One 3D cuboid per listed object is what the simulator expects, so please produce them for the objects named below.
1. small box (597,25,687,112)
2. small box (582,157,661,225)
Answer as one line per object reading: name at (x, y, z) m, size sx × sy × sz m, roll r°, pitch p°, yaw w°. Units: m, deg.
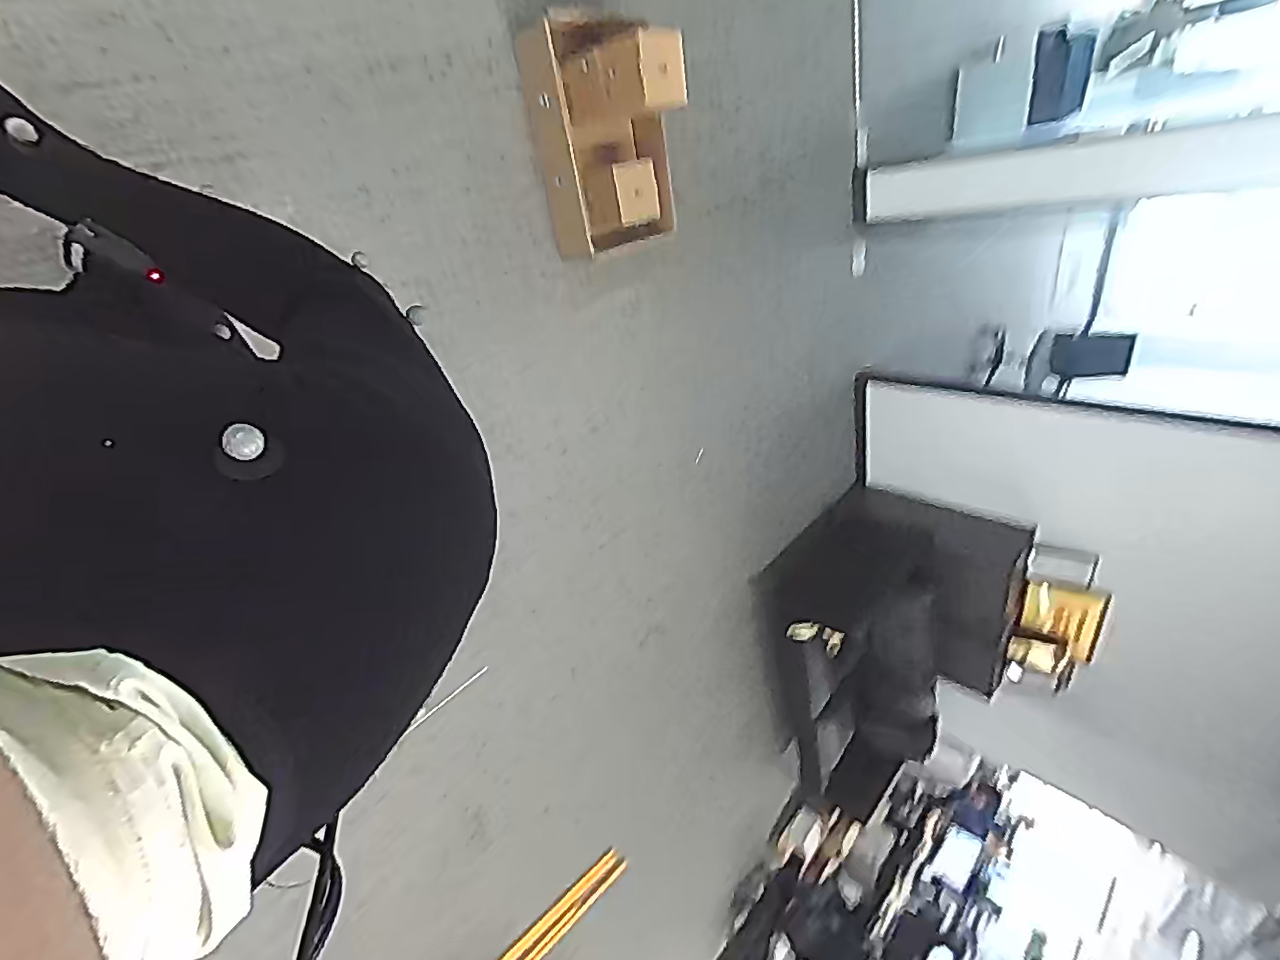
small box at (0.006, -1.149, 1.518) m, size 0.179 × 0.176 × 0.168 m, roll -32°, pitch 126°, yaw -33°
small box at (-0.060, -0.943, 1.765) m, size 0.179 × 0.176 × 0.168 m, roll -32°, pitch 124°, yaw -32°
